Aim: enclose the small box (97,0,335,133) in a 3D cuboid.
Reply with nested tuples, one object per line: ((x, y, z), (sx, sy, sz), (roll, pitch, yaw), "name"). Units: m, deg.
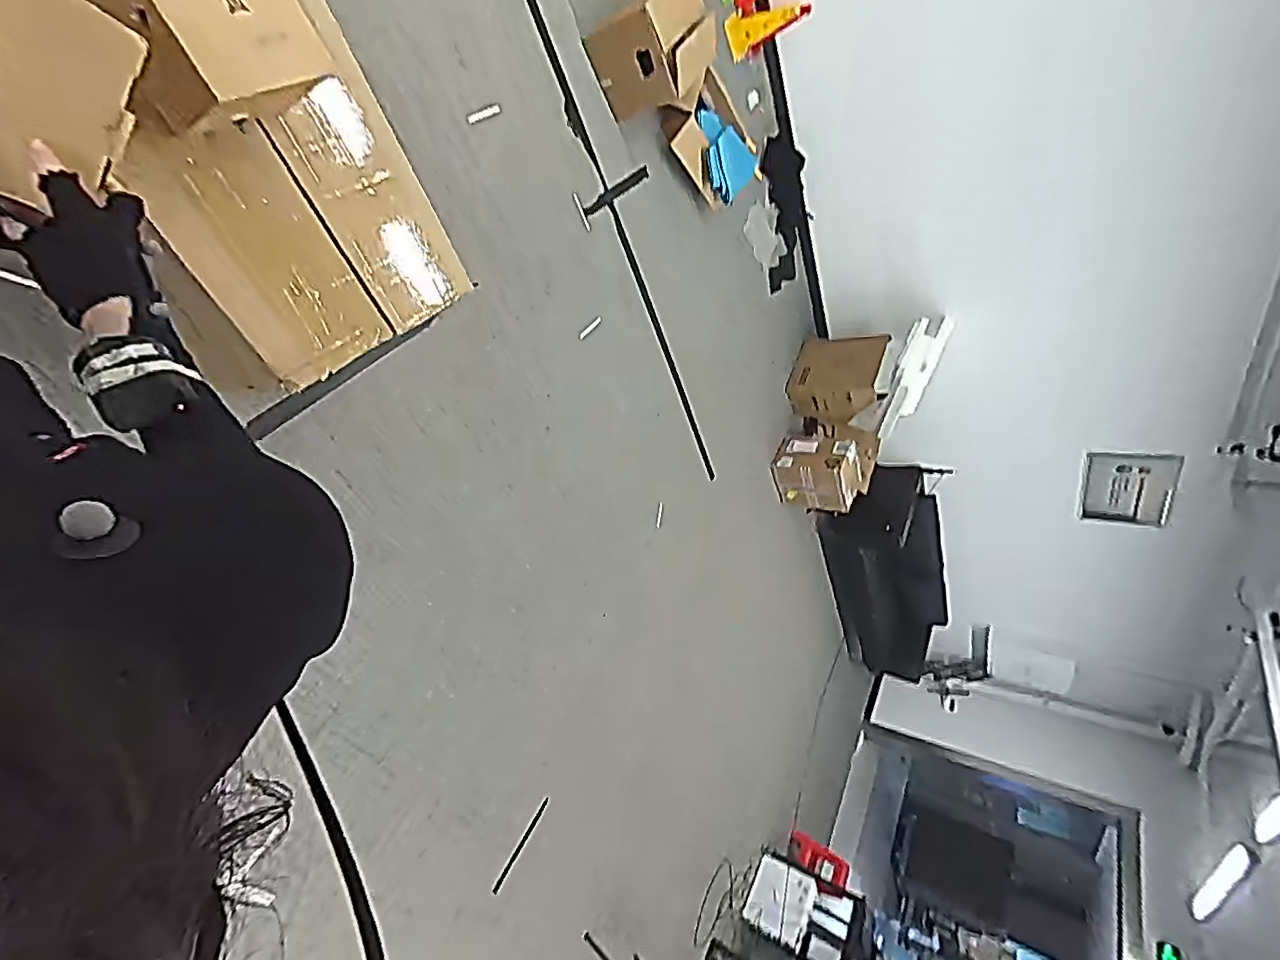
((-0.525, -0.556, 0.652), (0.168, 0.176, 0.179), (-50, 134, -34), "small box")

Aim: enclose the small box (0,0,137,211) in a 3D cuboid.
((-0.546, -0.344, 0.411), (0.179, 0.176, 0.168), (13, 105, -62), "small box")
